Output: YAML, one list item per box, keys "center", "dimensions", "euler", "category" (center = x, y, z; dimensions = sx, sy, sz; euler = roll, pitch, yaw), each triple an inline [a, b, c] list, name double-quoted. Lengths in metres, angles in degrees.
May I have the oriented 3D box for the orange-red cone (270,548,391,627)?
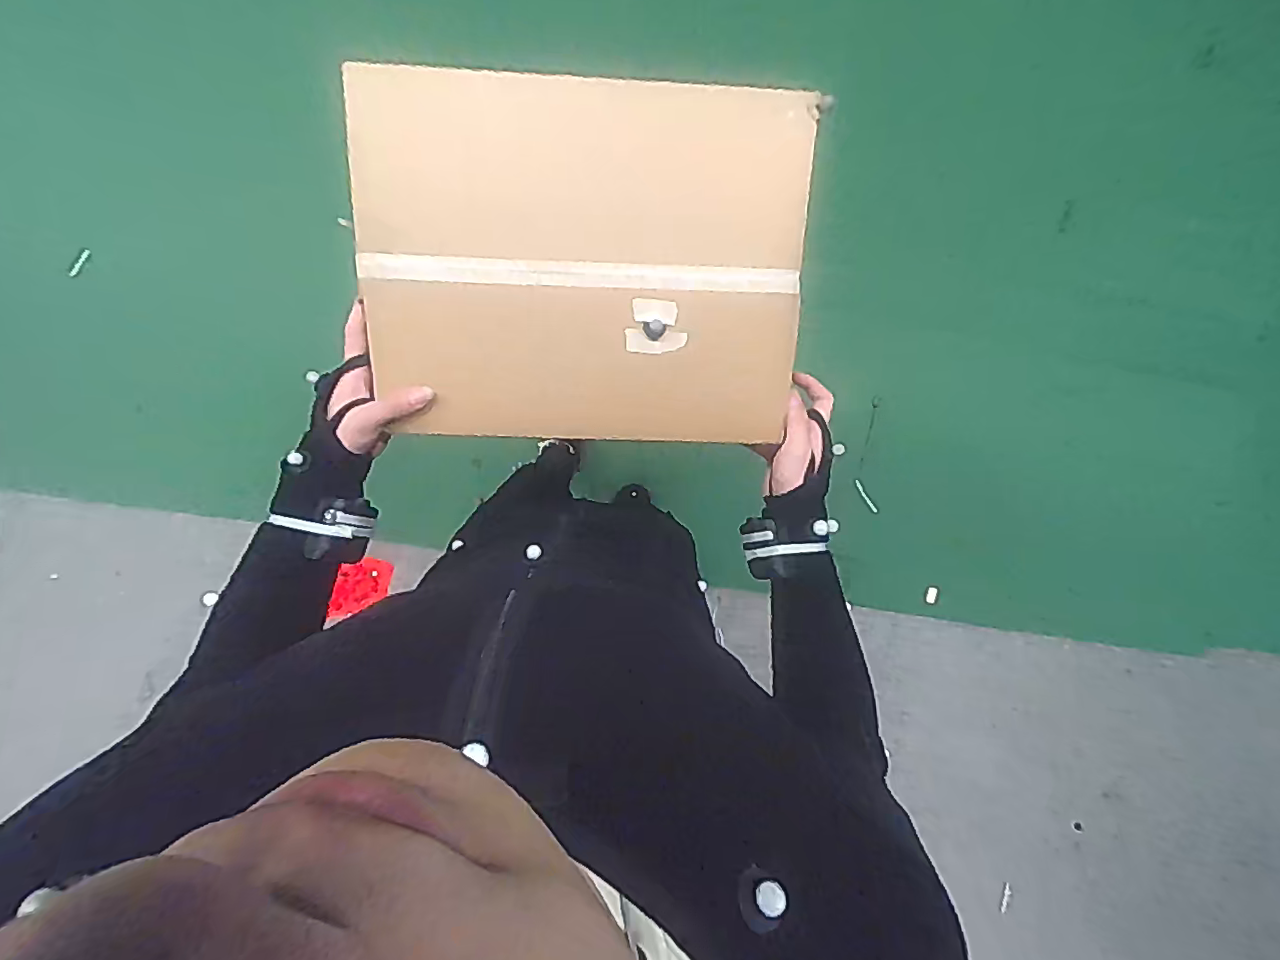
- center: [-0.859, 0.324, 1.446]
  dimensions: [0.199, 0.360, 0.198]
  euler: [16, 92, -1]
  category: "orange-red cone"

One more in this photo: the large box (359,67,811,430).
- center: [-0.057, -0.240, 0.653]
  dimensions: [0.408, 0.320, 0.320]
  euler: [1, 106, -4]
  category: "large box"
